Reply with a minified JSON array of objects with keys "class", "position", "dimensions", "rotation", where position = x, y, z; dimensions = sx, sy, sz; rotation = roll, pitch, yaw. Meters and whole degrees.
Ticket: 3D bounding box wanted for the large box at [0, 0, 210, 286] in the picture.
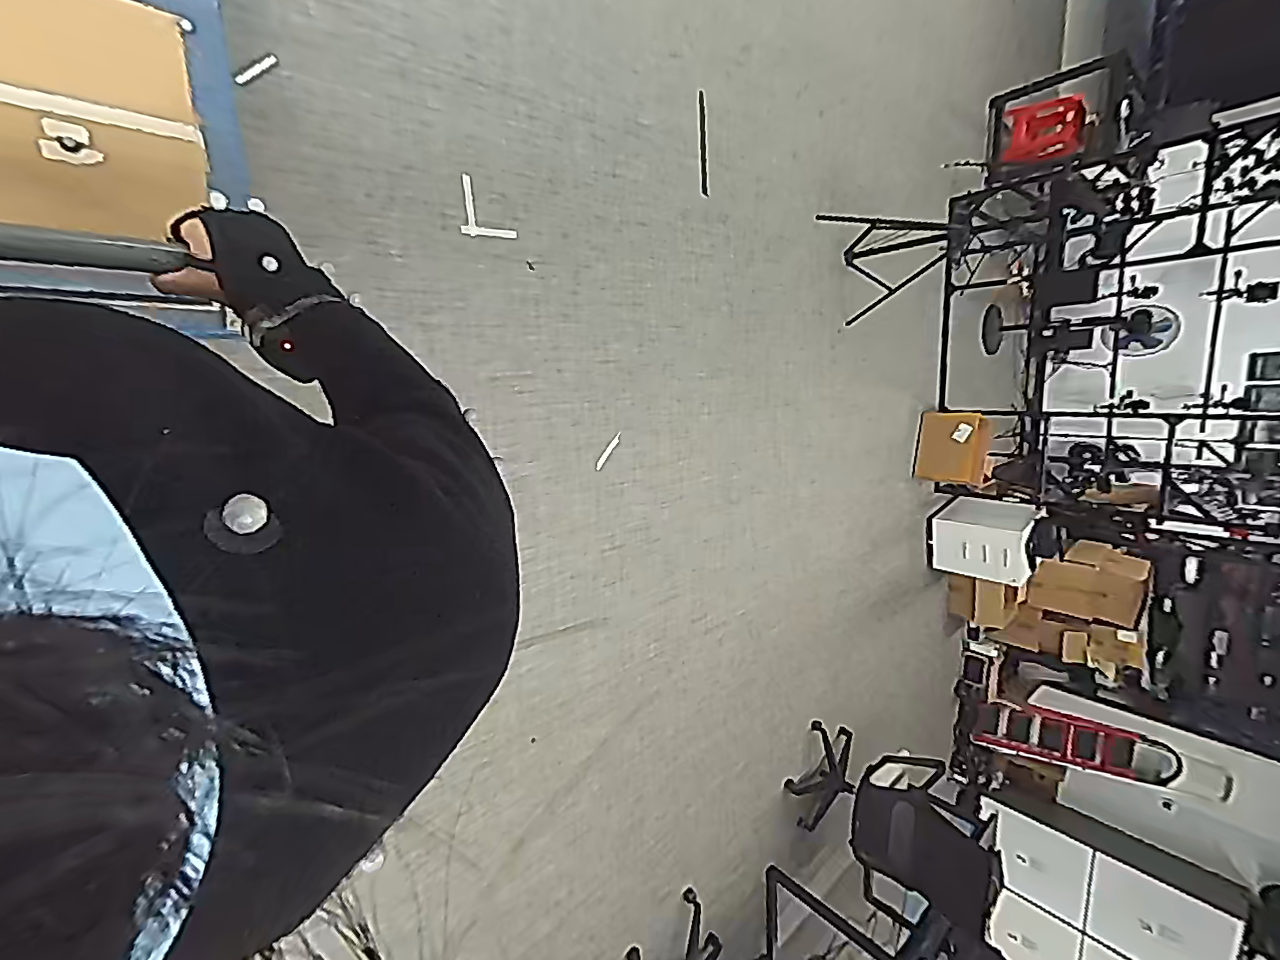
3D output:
[{"class":"large box","position":[-0.889,-0.469,0.752],"dimensions":[0.408,0.320,0.320],"rotation":[-10,103,-41]}]
